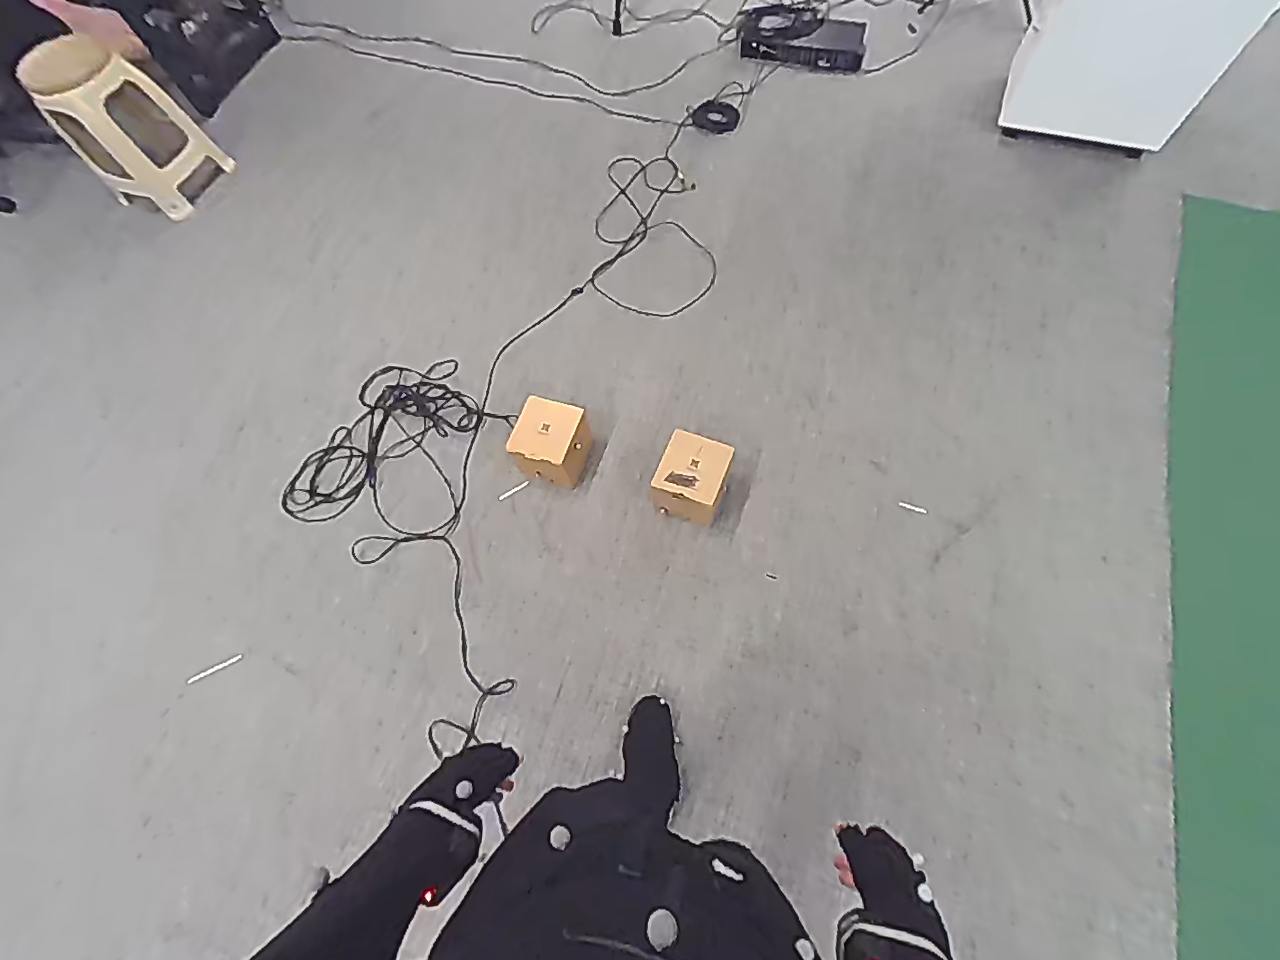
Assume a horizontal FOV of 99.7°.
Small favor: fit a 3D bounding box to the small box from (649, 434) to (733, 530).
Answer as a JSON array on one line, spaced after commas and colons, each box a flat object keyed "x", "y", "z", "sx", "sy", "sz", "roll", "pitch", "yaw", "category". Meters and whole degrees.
[{"x": 0.138, "y": 0.012, "z": 1.432, "sx": 0.168, "sy": 0.176, "sz": 0.179, "roll": 20, "pitch": 69, "yaw": 13, "category": "small box"}]

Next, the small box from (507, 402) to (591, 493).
[{"x": -0.245, "y": -0.087, "z": 1.511, "sx": 0.168, "sy": 0.176, "sz": 0.179, "roll": 15, "pitch": 69, "yaw": 12, "category": "small box"}]
